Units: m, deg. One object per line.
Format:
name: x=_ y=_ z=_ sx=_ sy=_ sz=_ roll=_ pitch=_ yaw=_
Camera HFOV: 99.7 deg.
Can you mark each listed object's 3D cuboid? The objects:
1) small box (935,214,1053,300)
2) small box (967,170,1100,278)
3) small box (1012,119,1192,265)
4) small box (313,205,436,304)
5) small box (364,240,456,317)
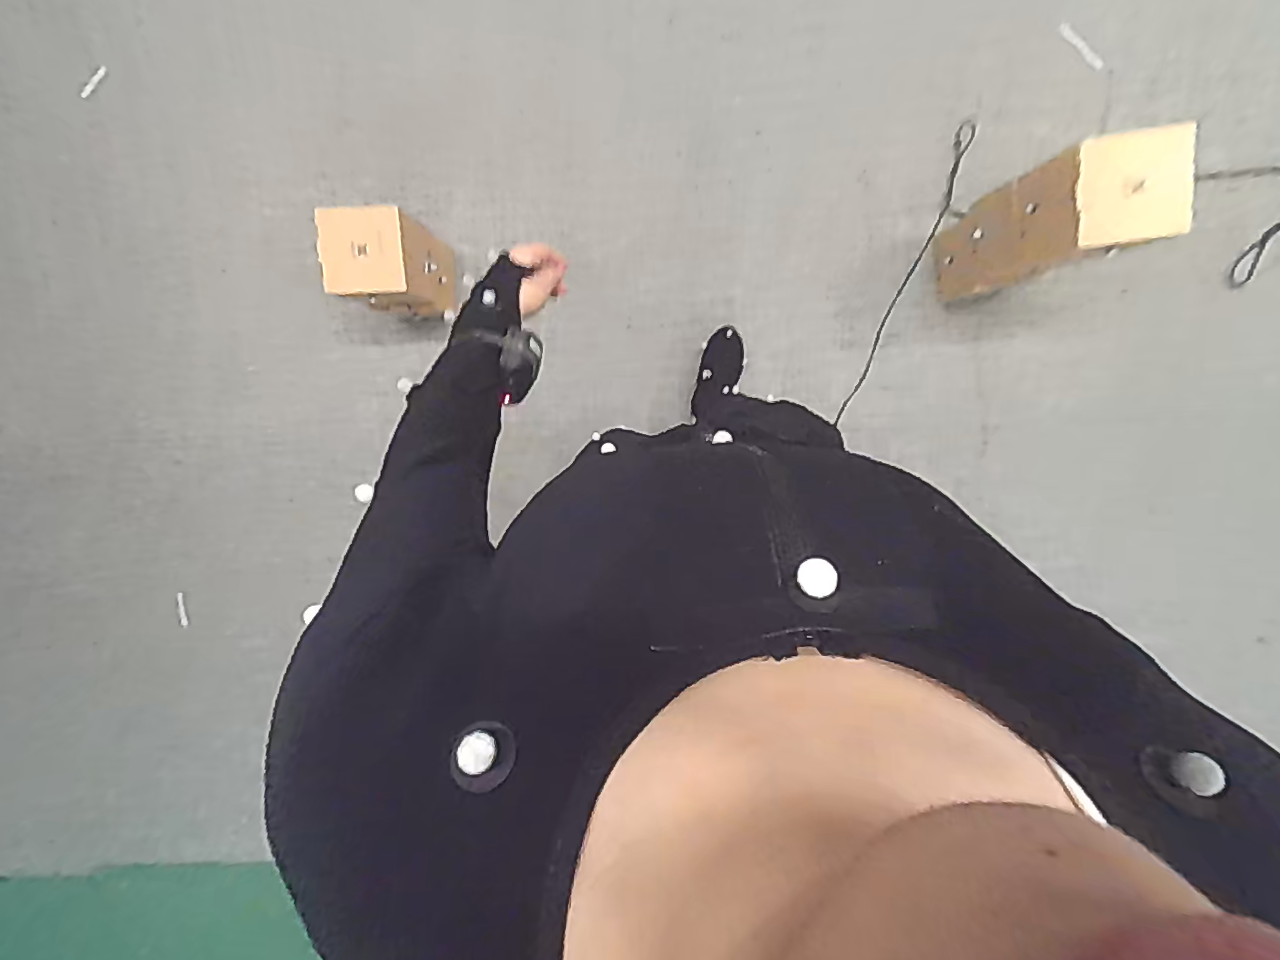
small box: x=0.812 y=-0.528 z=1.259 sx=0.179 sy=0.176 sz=0.168 roll=-10 pitch=99 yaw=4
small box: x=0.798 y=-0.519 z=1.096 sx=0.179 sy=0.176 sz=0.168 roll=-6 pitch=98 yaw=5
small box: x=0.786 y=-0.486 z=0.937 sx=0.179 sy=0.176 sz=0.168 roll=-7 pitch=99 yaw=5
small box: x=-0.567 y=-0.481 z=1.174 sx=0.179 sy=0.176 sz=0.168 roll=-1 pitch=101 yaw=2
small box: x=-0.568 y=-0.501 z=1.336 sx=0.168 sy=0.176 sz=0.179 roll=-1 pitch=100 yaw=3
